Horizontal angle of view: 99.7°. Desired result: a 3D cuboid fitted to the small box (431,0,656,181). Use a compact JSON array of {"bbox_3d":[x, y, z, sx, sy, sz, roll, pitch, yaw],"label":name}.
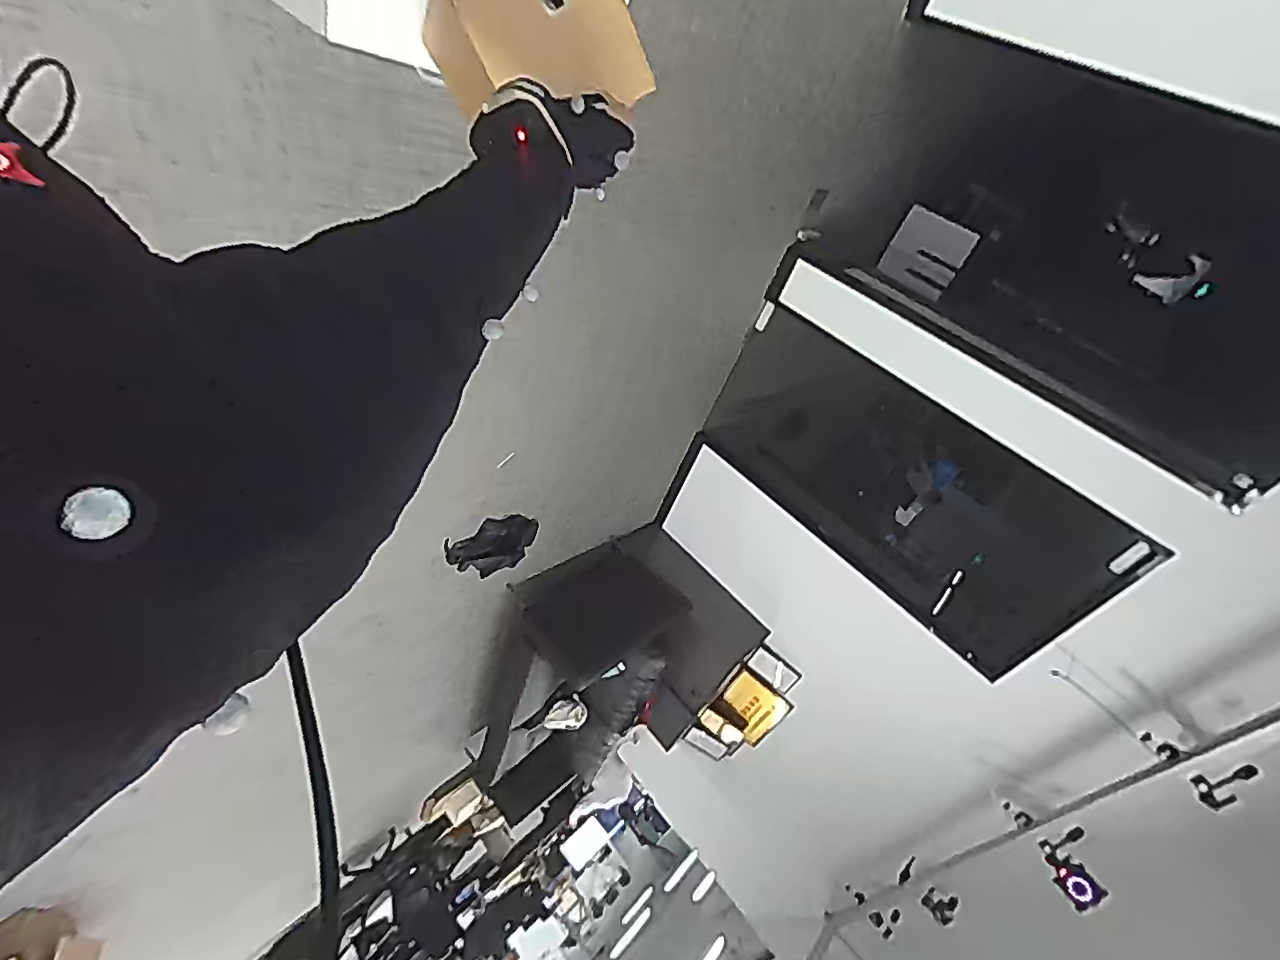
[{"bbox_3d":[-0.114,-0.471,0.612,0.168,0.179,0.176,-35,121,-9],"label":"small box"}]
